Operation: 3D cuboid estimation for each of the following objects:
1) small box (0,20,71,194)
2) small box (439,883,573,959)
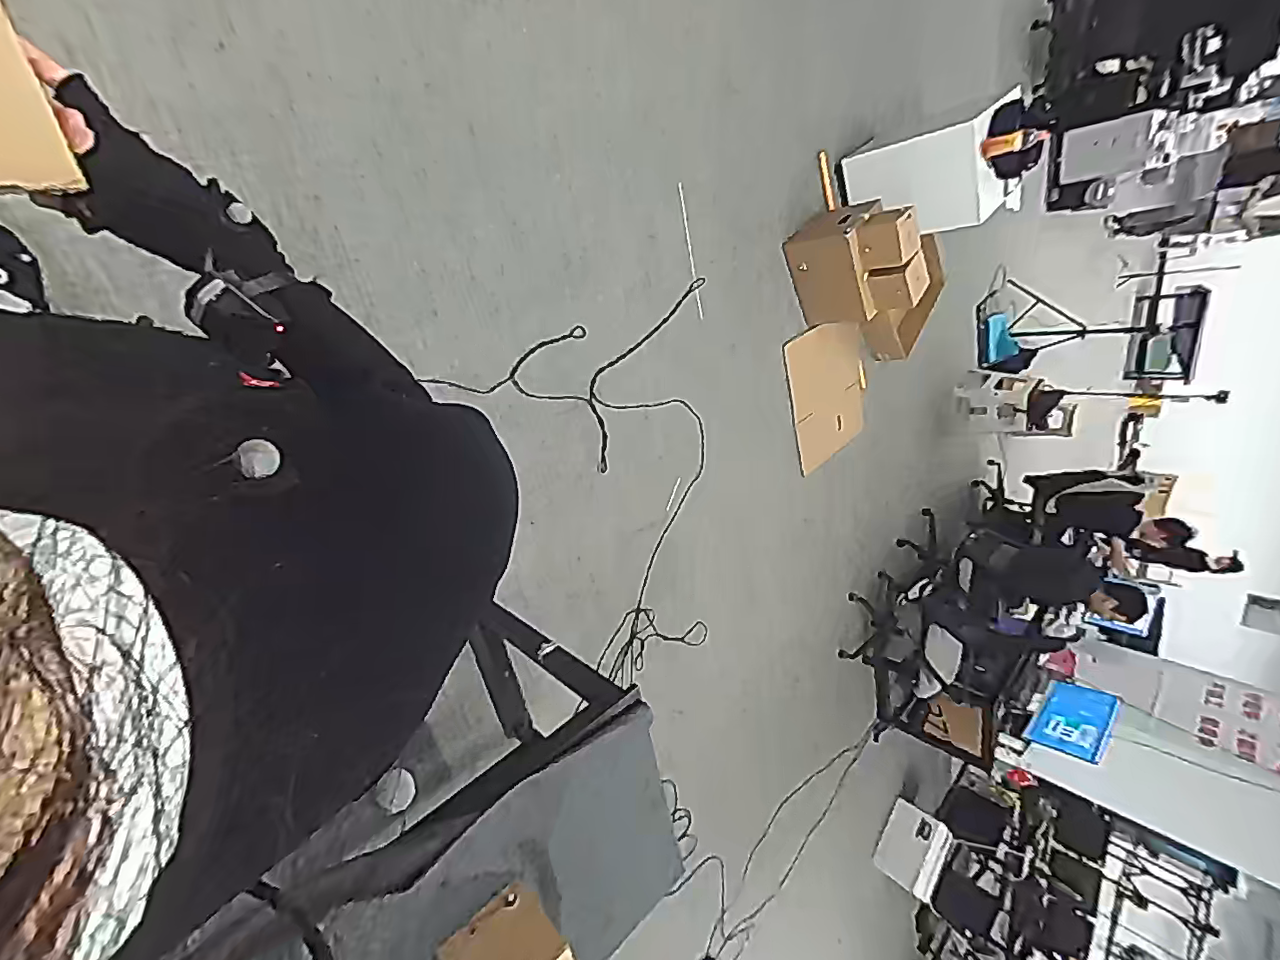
[{"bbox_3d":[-0.467,-0.254,0.290,0.168,0.176,0.179,-29,129,-39],"label":"small box"},{"bbox_3d":[-0.220,0.850,0.931,0.168,0.176,0.179,-26,117,-35],"label":"small box"}]
